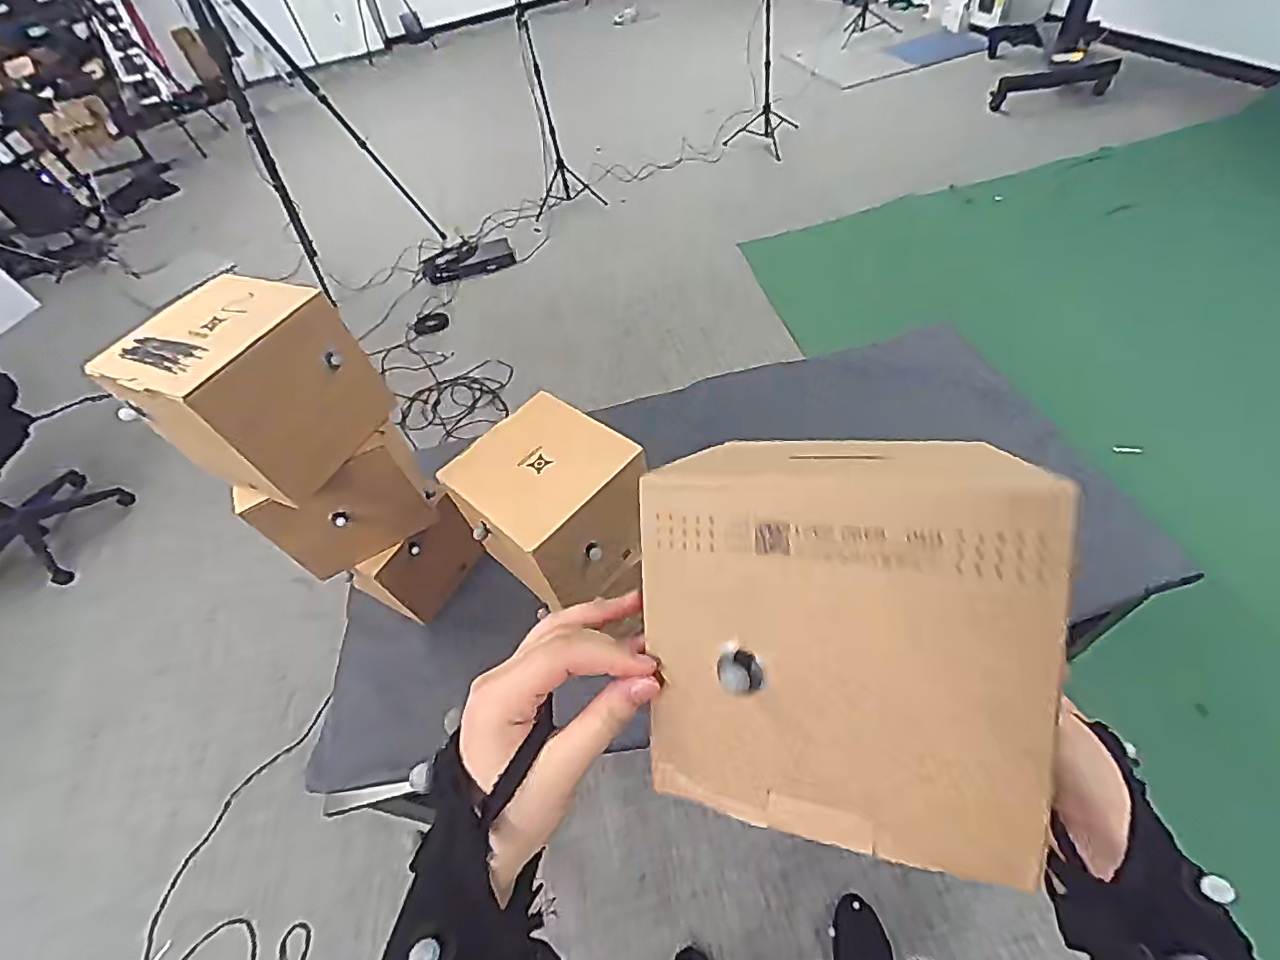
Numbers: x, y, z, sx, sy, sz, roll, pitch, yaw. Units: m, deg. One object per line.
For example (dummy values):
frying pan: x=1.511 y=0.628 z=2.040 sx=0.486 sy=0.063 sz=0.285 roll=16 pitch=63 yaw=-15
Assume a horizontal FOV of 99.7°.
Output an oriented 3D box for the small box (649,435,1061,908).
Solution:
small box: x=0.109 y=0.069 z=0.303 sx=0.168 sy=0.176 sz=0.179 roll=4 pitch=14 yaw=23

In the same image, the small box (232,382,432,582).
small box: x=-0.408 y=0.005 z=0.741 sx=0.179 sy=0.176 sz=0.168 roll=-30 pitch=52 yaw=-12

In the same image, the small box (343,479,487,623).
small box: x=-0.383 y=0.104 z=0.870 sx=0.179 sy=0.176 sz=0.168 roll=18 pitch=57 yaw=24

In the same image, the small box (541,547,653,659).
small box: x=-0.069 y=0.132 z=0.780 sx=0.168 sy=0.176 sz=0.179 roll=-34 pitch=52 yaw=-17

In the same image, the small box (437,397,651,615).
small box: x=-0.099 y=0.037 z=0.652 sx=0.179 sy=0.176 sz=0.168 roll=31 pitch=63 yaw=32
